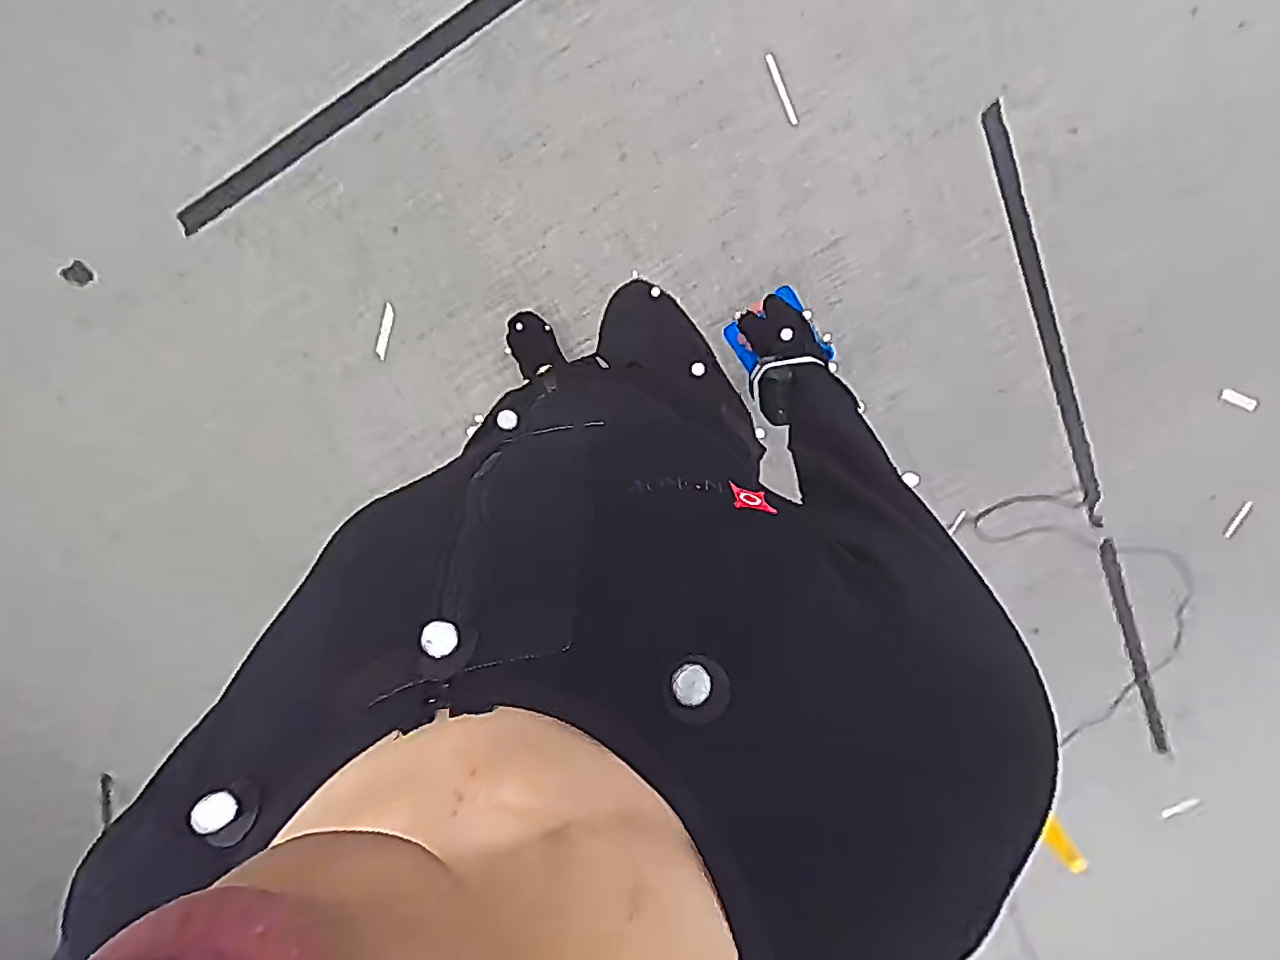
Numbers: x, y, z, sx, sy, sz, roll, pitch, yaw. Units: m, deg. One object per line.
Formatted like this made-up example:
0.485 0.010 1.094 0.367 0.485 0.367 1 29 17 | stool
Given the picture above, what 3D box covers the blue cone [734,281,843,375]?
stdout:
0.359 -0.328 1.221 0.192 0.380 0.193 -34 108 9 | blue cone
